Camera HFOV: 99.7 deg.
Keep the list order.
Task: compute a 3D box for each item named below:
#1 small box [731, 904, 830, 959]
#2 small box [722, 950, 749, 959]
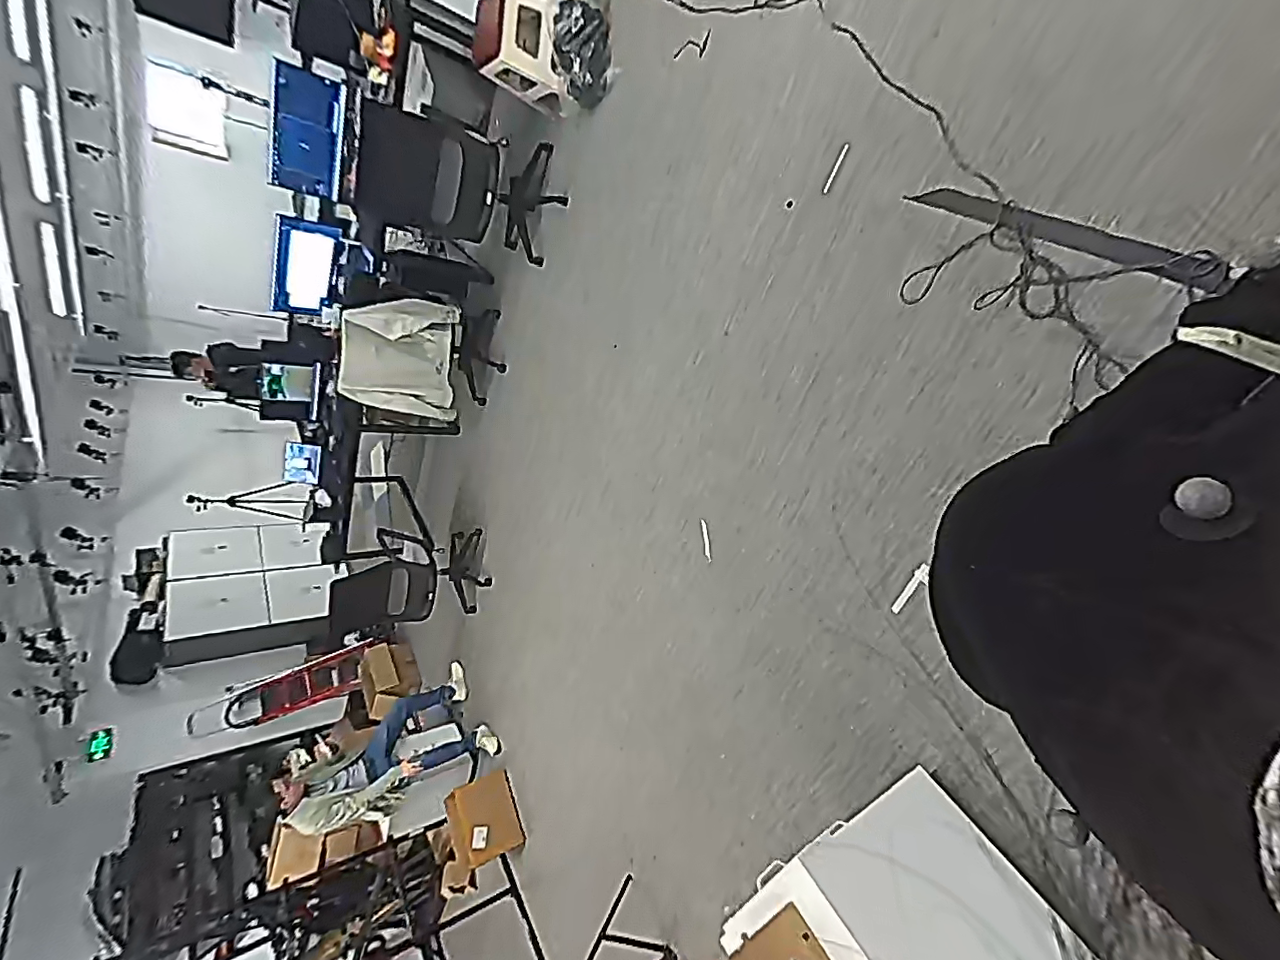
[{"bbox_3d":[0.273,0.998,1.075,0.168,0.176,0.179,48,126,37],"label":"small box"},{"bbox_3d":[0.143,1.012,0.976,0.168,0.176,0.179,48,127,36],"label":"small box"}]
